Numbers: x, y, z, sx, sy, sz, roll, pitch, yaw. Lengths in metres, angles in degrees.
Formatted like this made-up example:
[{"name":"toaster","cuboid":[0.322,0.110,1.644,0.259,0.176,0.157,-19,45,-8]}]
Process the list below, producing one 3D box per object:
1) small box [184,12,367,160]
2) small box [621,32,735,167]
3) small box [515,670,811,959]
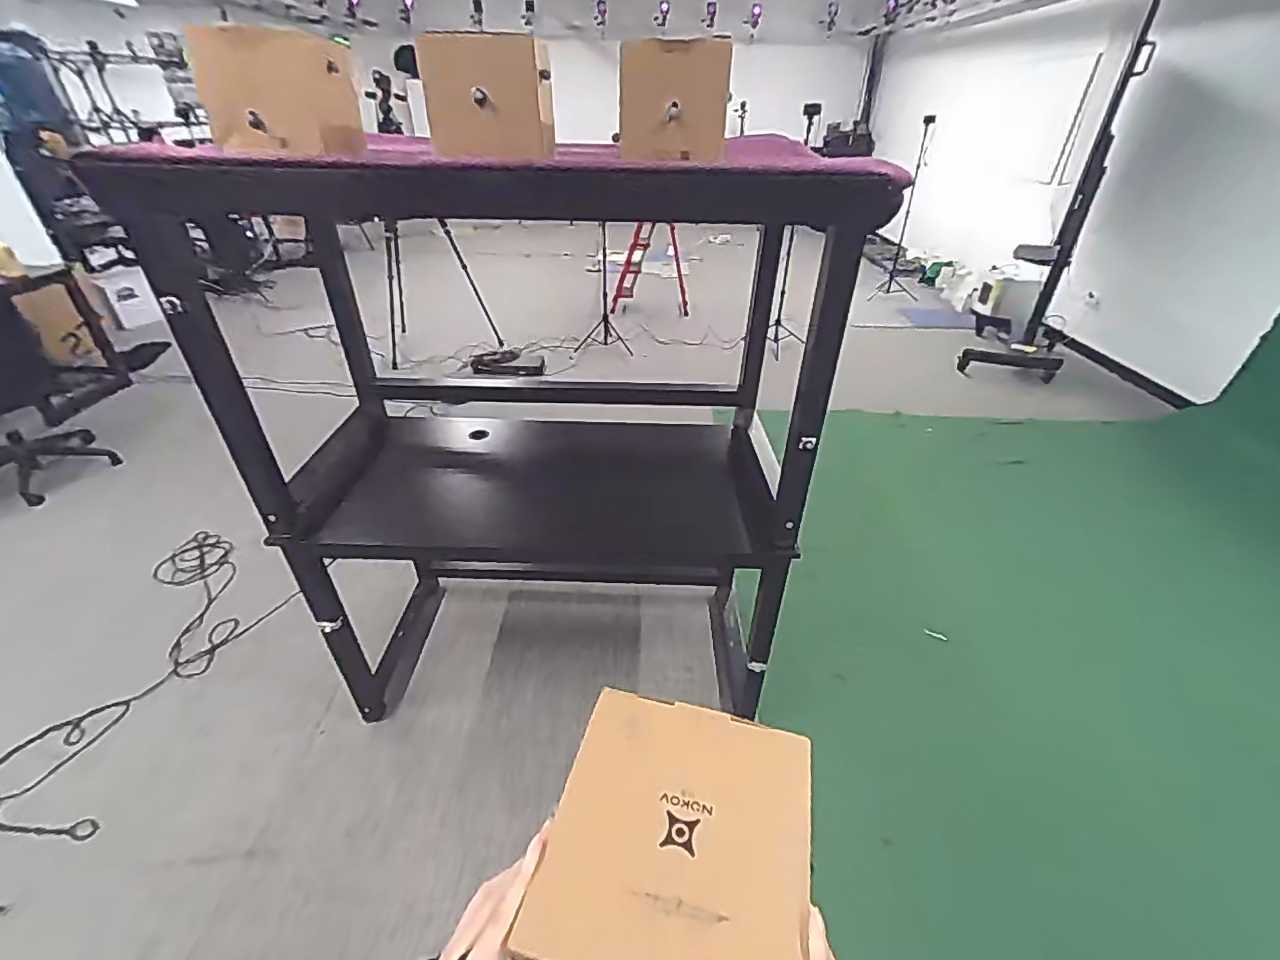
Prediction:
[{"name":"small box","cuboid":[-0.559,-0.618,0.864,0.168,0.176,0.179,0,34,-4]},{"name":"small box","cuboid":[0.057,-0.613,0.879,0.168,0.176,0.179,2,35,1]},{"name":"small box","cuboid":[0.025,0.280,0.399,0.168,0.176,0.179,10,35,12]}]
